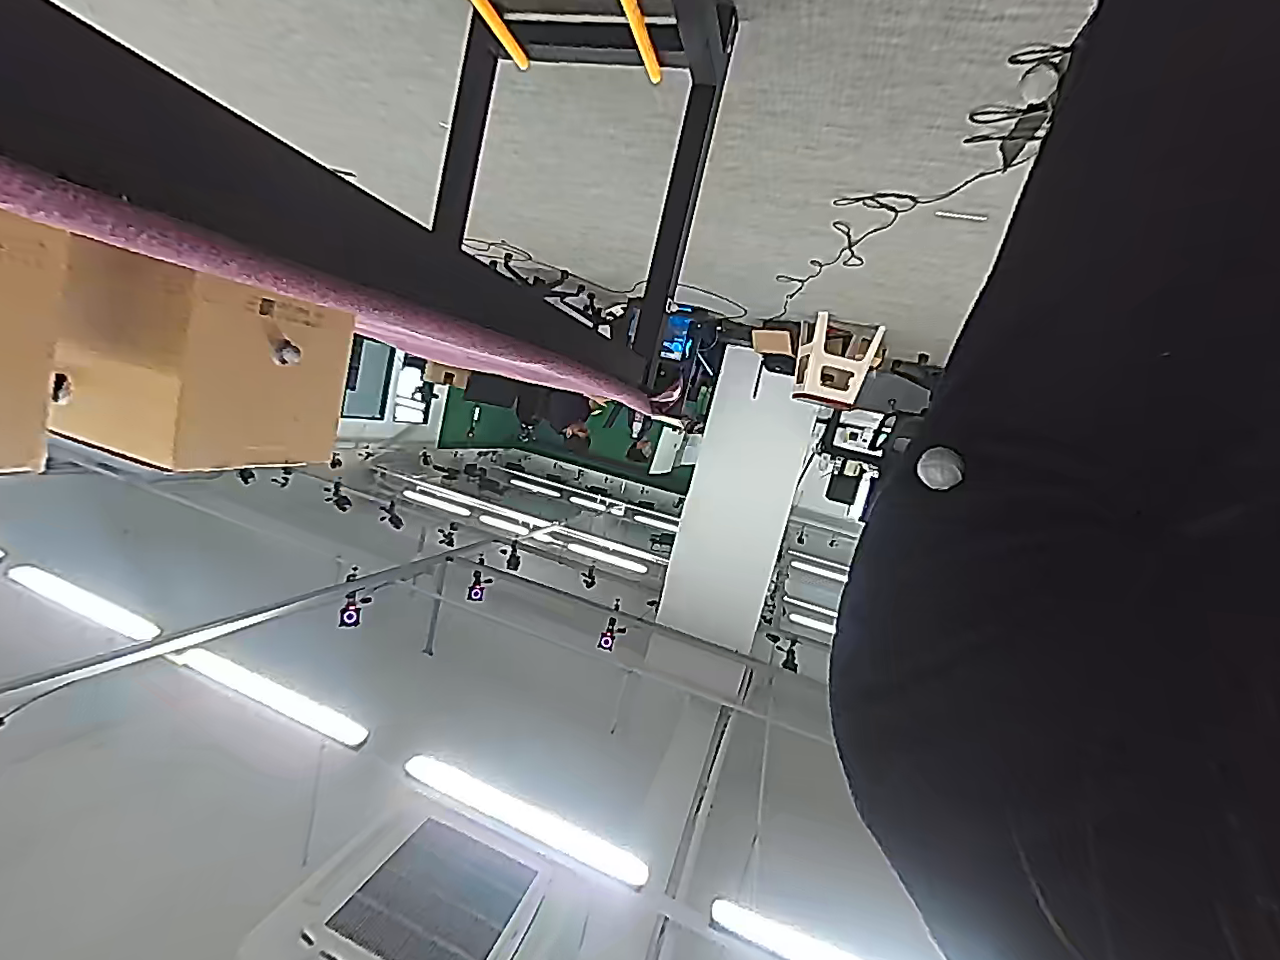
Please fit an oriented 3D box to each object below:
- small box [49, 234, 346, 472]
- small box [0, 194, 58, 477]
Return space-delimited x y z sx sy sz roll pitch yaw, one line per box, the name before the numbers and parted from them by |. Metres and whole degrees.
small box | -0.414 -0.114 0.512 0.179 0.176 0.168 15 -171 12
small box | -0.471 -0.098 0.279 0.168 0.176 0.179 16 -172 9
